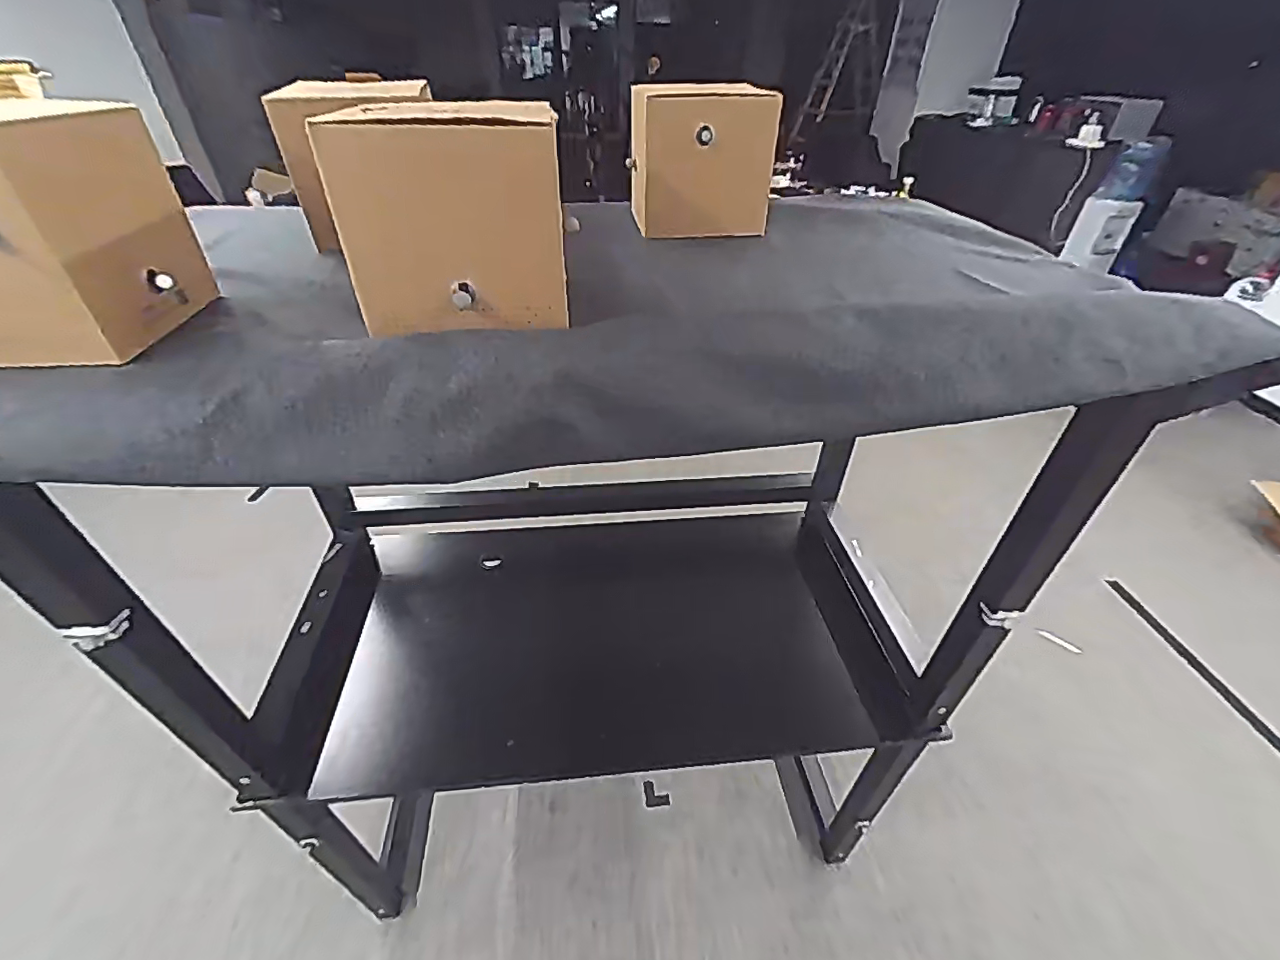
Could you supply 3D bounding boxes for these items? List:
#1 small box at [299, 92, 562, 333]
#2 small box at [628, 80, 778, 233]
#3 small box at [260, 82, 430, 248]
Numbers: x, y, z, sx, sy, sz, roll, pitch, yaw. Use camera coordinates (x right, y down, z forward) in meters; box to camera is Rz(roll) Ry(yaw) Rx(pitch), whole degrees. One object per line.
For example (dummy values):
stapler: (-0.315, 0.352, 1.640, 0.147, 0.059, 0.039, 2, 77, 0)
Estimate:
small box: (-0.162, -0.244, 0.494, 0.179, 0.176, 0.168, -4, 37, -6)
small box: (0.078, -0.458, 0.767, 0.179, 0.176, 0.168, -4, 39, -5)
small box: (-0.350, -0.415, 0.709, 0.168, 0.176, 0.179, -9, 39, -10)
